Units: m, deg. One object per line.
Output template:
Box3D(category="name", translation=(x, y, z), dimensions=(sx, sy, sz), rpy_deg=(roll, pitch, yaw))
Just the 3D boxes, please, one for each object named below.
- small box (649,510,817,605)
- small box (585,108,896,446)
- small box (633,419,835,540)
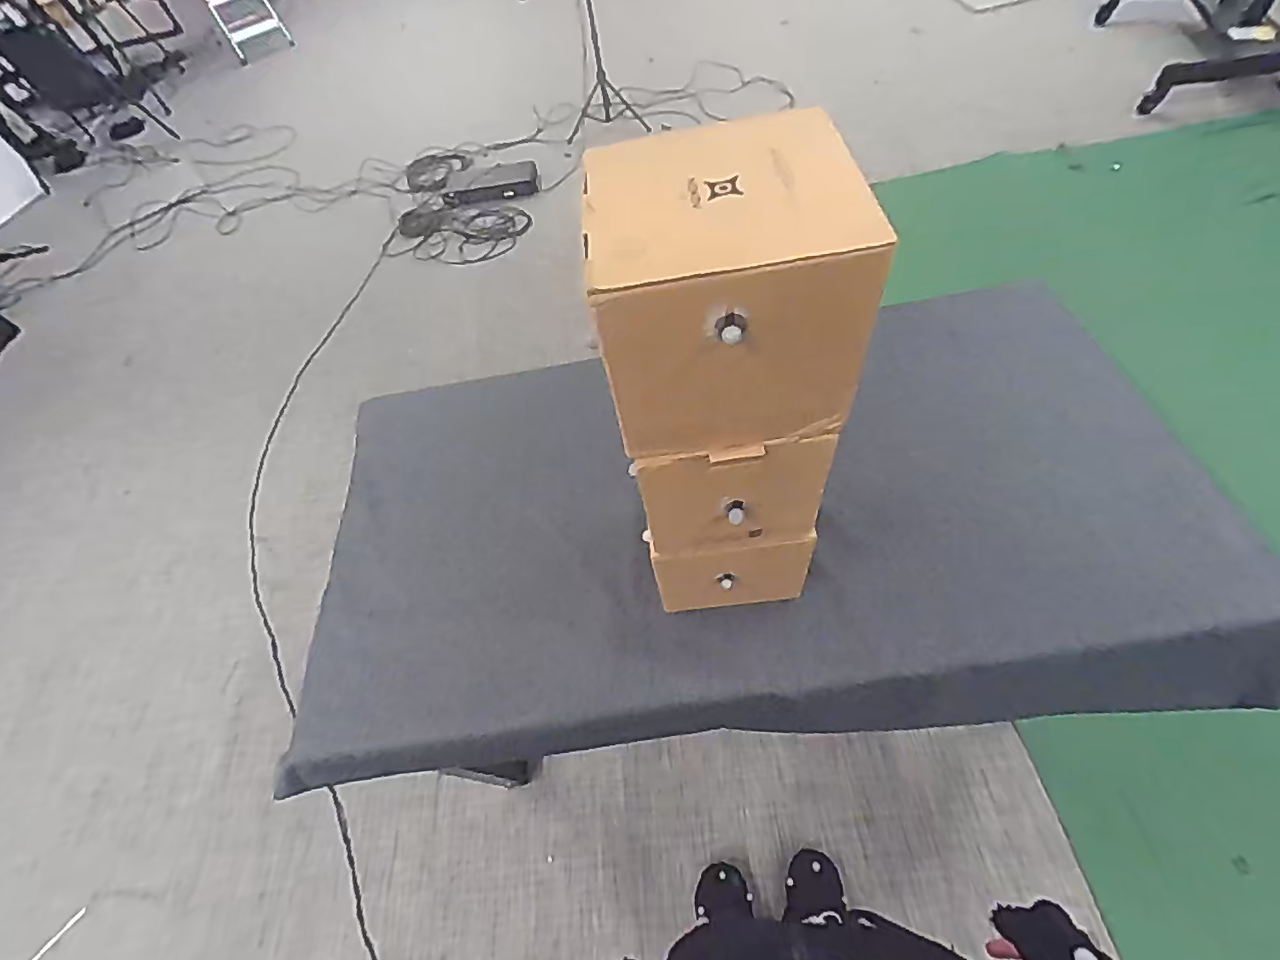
Box3D(category="small box", translation=(0.105, 0.044, 0.676), dimensions=(0.179, 0.176, 0.168), rpy_deg=(-8, 56, 5))
Box3D(category="small box", translation=(0.062, -0.141, 0.411), dimensions=(0.179, 0.176, 0.168), rpy_deg=(-7, 57, 4))
Box3D(category="small box", translation=(0.082, -0.051, 0.545), dimensions=(0.168, 0.176, 0.179), rpy_deg=(-8, 57, 4))
